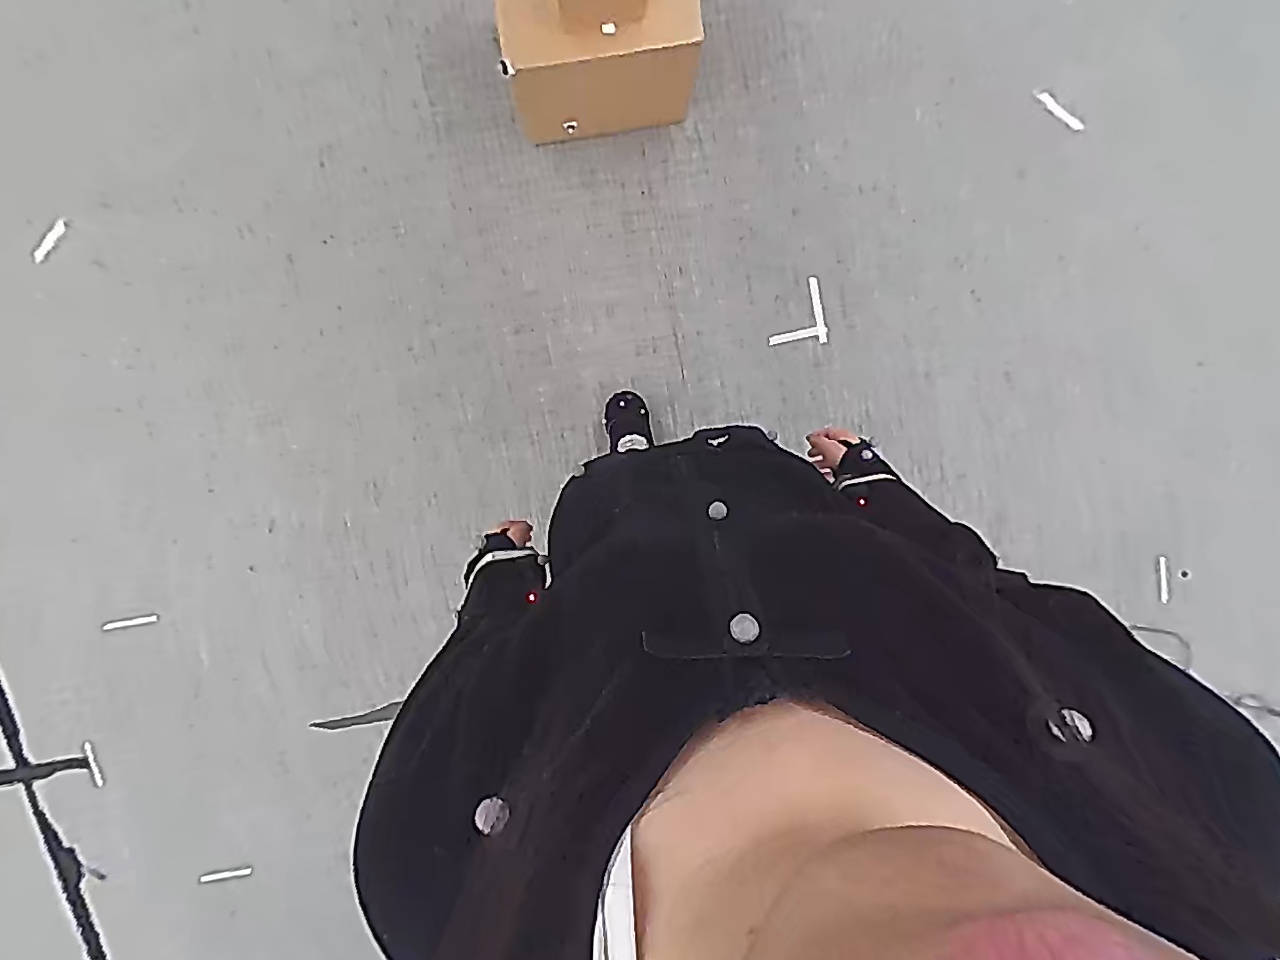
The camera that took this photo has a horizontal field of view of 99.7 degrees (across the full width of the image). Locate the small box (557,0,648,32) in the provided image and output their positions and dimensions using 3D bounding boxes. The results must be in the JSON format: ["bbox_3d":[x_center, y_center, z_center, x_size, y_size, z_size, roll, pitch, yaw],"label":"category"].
[{"bbox_3d":[-0.079,-0.962,0.979,0.179,0.176,0.168,-12,99,-1],"label":"small box"}]
